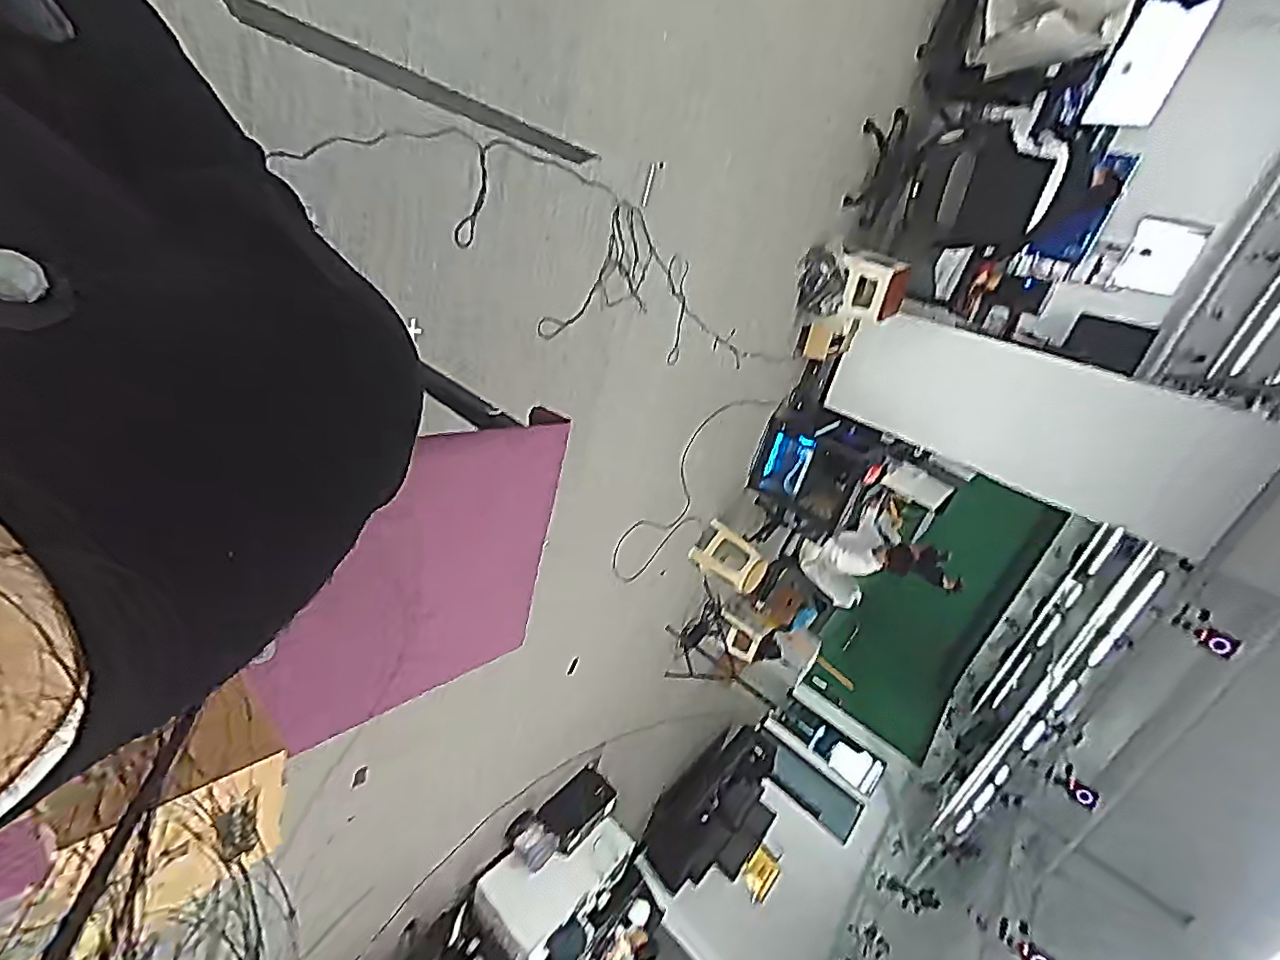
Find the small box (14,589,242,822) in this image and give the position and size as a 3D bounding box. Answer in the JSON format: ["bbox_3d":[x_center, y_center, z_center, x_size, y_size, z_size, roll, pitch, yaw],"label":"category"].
[{"bbox_3d":[-0.629,0.261,0.674,0.179,0.176,0.168,-11,124,-50],"label":"small box"}]
